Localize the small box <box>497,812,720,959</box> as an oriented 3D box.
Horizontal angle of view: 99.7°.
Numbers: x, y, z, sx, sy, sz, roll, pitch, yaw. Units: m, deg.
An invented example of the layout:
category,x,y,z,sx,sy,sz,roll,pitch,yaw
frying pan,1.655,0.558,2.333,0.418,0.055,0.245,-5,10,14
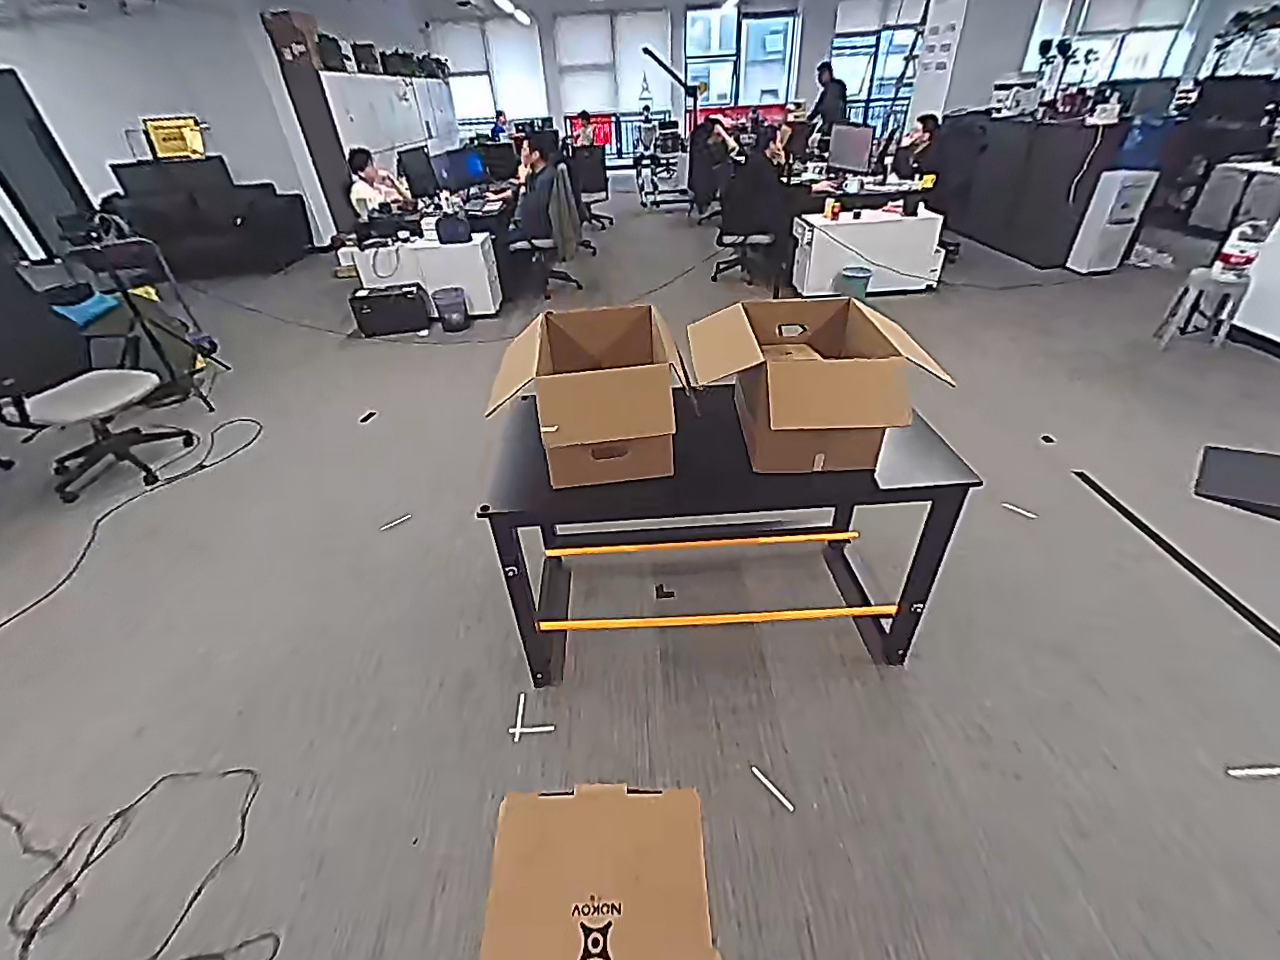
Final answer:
category,x,y,z,sx,sy,sz,roll,pitch,yaw
small box,-0.023,0.401,0.453,0.168,0.176,0.179,-2,46,-1
